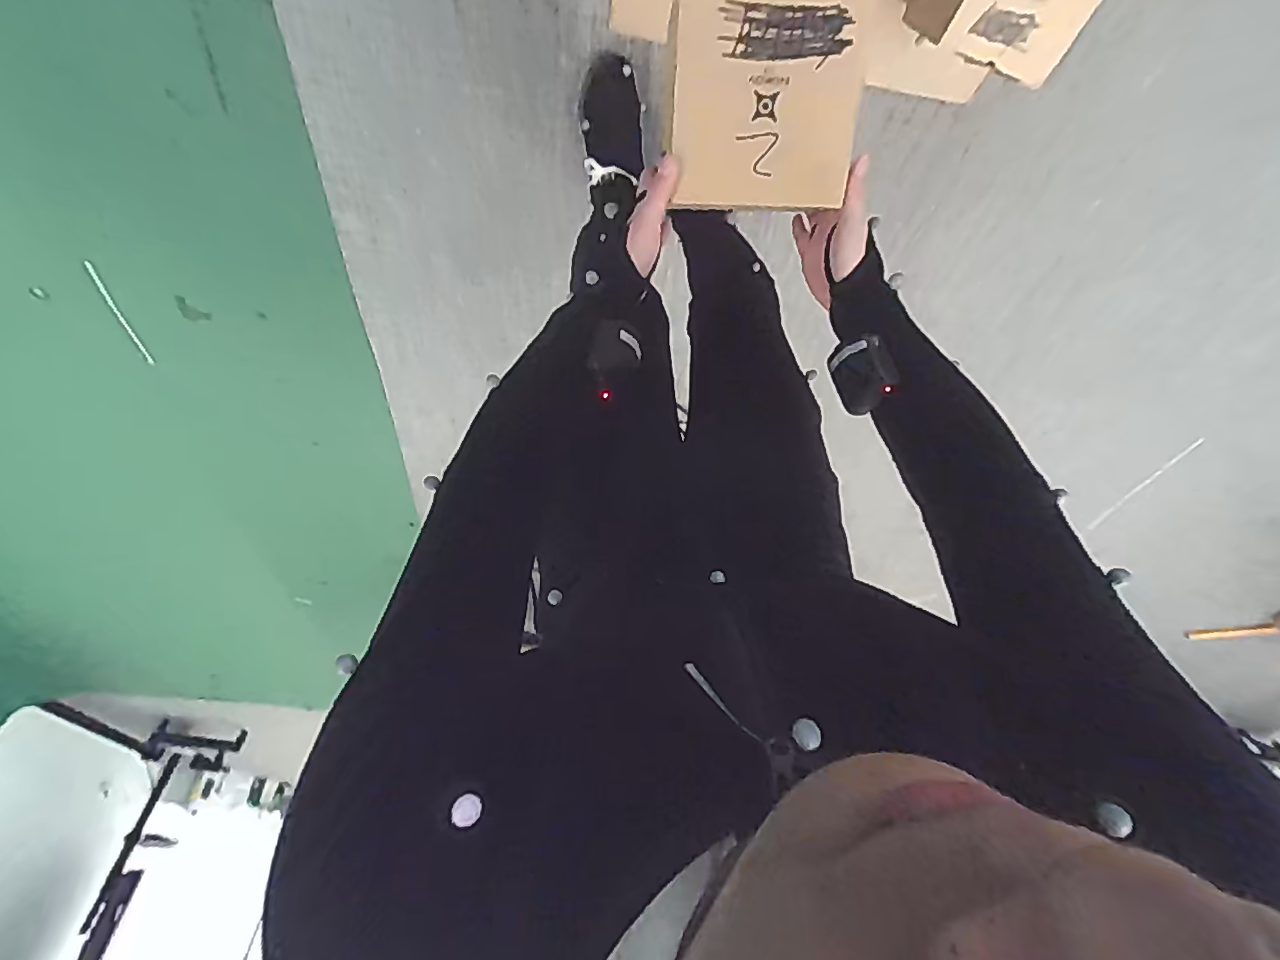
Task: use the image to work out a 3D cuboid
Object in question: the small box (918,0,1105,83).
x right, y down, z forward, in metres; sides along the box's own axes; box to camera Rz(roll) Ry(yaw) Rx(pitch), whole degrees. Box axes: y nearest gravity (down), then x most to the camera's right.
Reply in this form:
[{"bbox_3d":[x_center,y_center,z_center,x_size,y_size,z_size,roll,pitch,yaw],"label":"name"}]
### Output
[{"bbox_3d":[0.493,-0.663,0.701,0.168,0.176,0.179,13,137,-12],"label":"small box"}]
